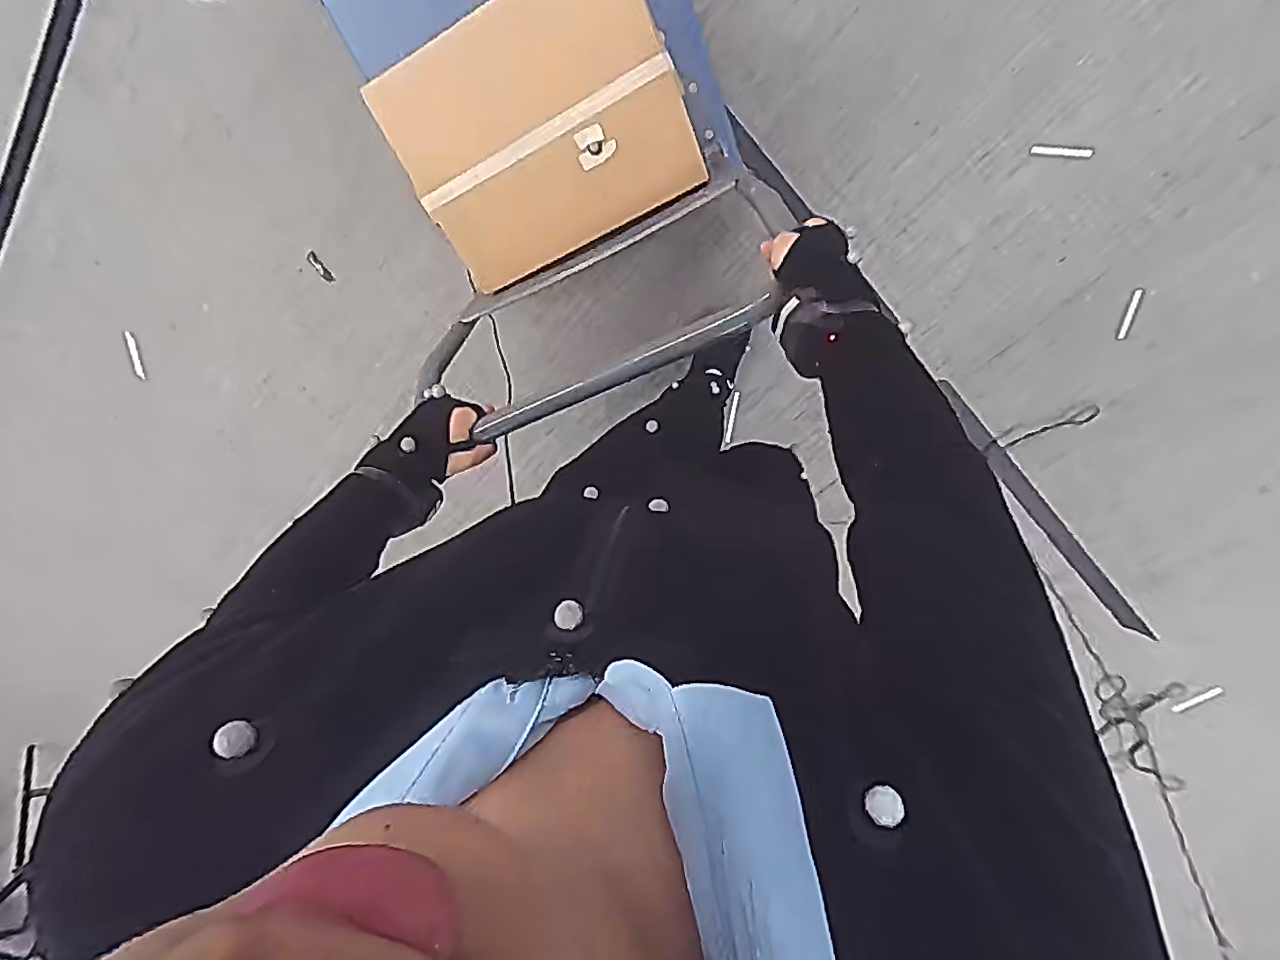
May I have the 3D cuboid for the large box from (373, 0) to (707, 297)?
[{"bbox_3d":[-0.139,-0.572,0.914,0.408,0.320,0.320,-22,120,14],"label":"large box"}]
